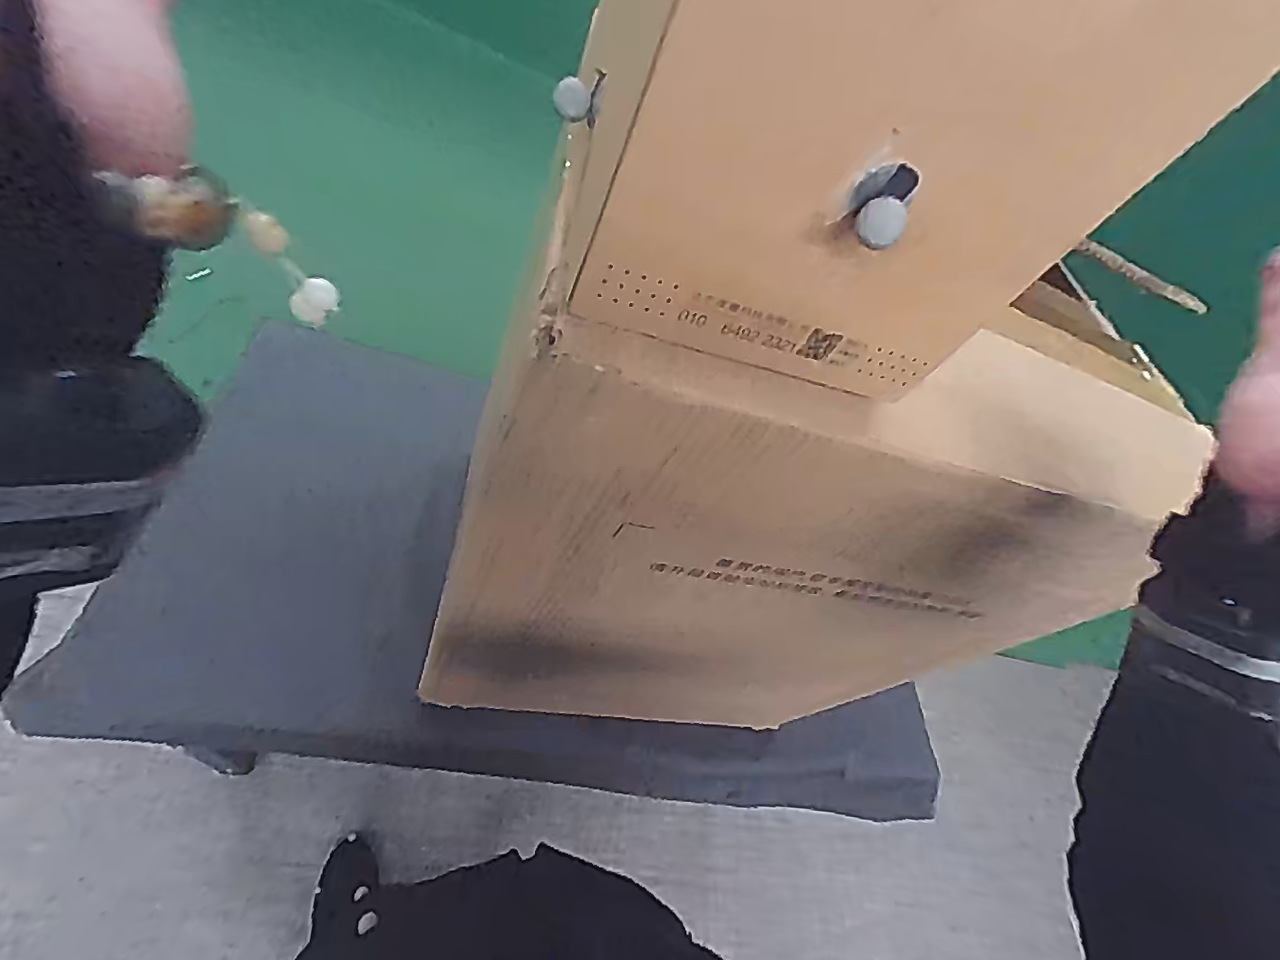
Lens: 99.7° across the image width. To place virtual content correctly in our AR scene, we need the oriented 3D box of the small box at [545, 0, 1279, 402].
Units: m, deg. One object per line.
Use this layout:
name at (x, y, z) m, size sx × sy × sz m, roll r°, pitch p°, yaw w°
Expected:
small box at (0.062, -0.155, 0.213) m, size 0.168 × 0.176 × 0.179 m, roll 9°, pitch 55°, yaw -19°
